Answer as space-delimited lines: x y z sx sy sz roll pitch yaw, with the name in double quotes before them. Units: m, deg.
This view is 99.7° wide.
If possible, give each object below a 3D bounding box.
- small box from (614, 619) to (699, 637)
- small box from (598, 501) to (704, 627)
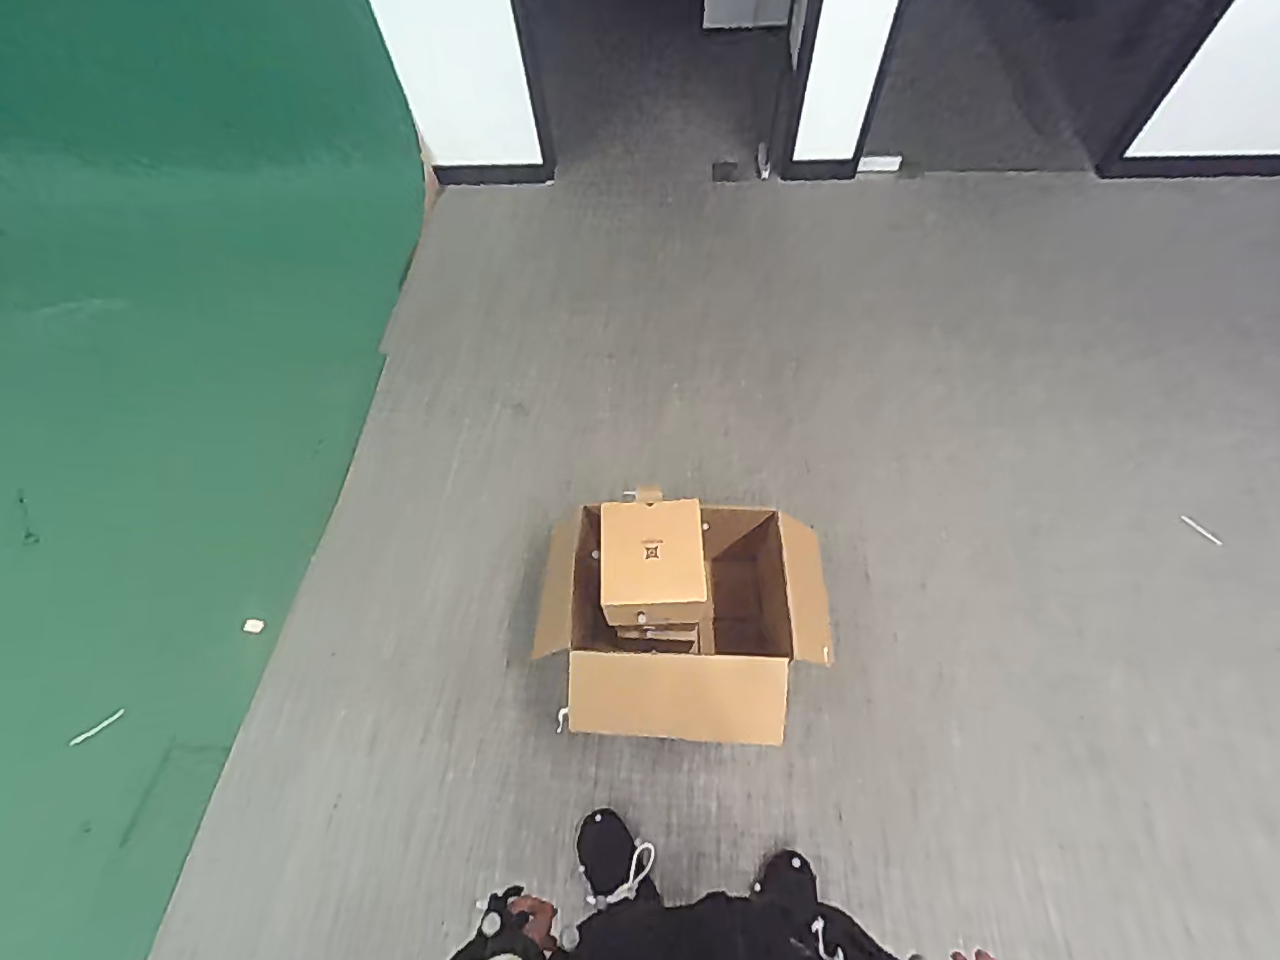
"small box" 0.027 0.209 1.081 0.168 0.176 0.179 0 64 1
"small box" 0.019 0.152 0.930 0.168 0.176 0.179 -3 62 1
